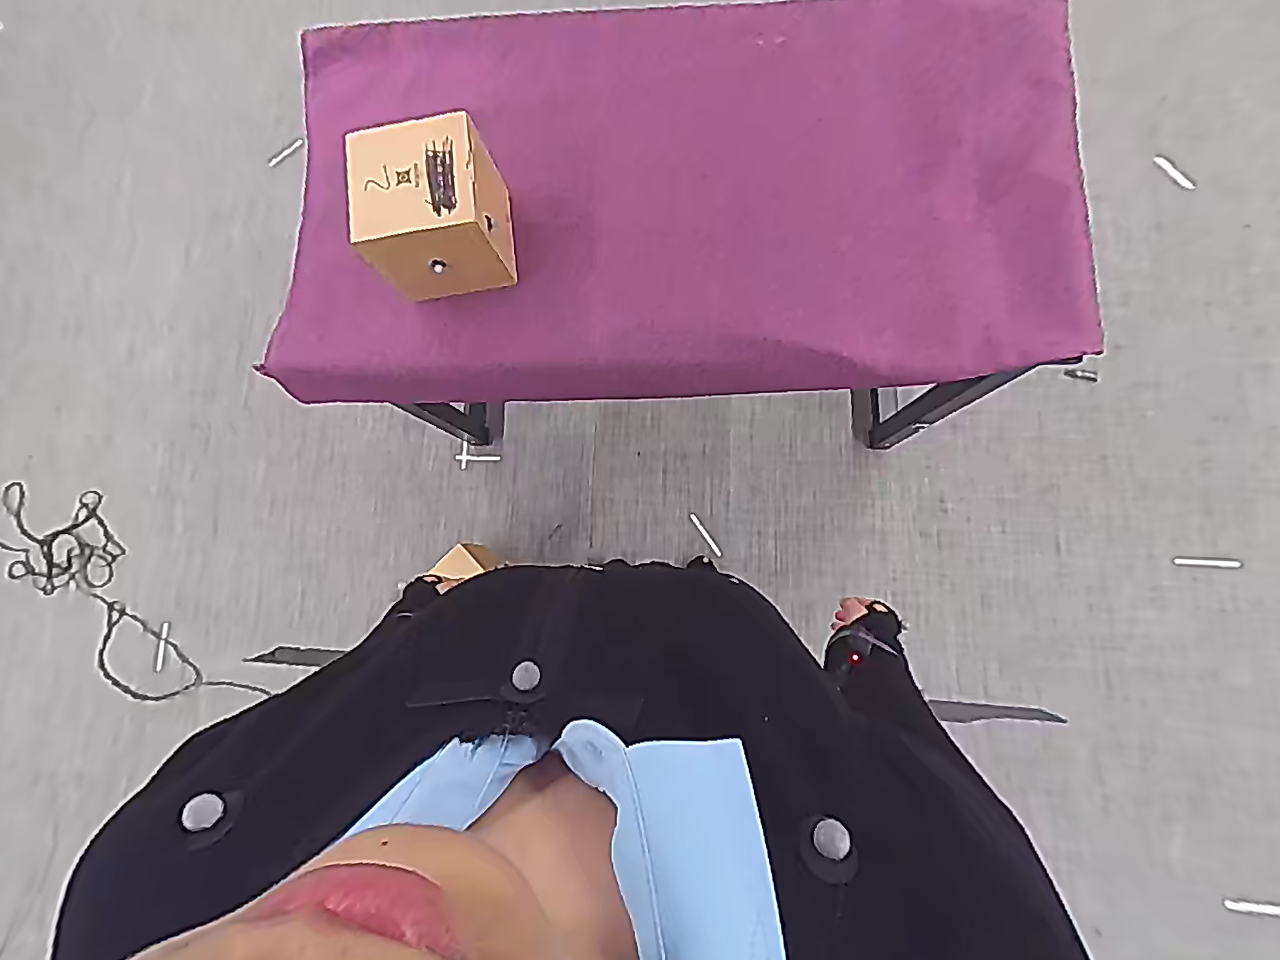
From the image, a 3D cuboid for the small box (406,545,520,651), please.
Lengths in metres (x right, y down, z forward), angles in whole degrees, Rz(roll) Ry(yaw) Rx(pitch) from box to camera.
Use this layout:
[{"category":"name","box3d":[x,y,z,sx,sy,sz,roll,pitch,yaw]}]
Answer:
[{"category":"small box","box3d":[-0.406,0.274,1.287,0.179,0.176,0.168,-44,80,-3]}]
